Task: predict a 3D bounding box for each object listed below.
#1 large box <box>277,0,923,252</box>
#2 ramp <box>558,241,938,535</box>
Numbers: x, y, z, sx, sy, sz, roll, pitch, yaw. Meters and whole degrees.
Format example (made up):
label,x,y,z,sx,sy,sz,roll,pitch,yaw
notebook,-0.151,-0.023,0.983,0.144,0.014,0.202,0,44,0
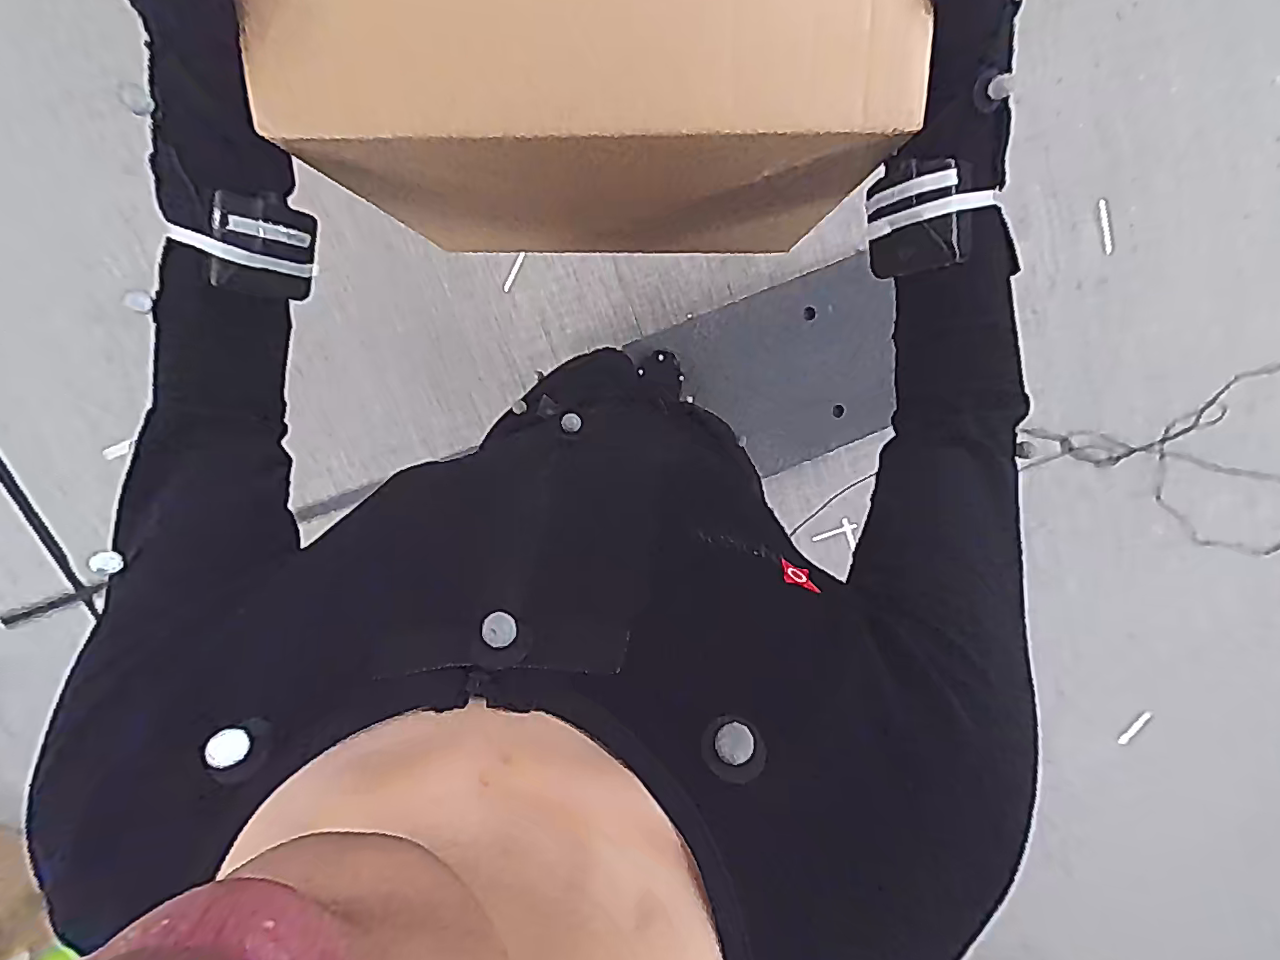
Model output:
label,x,y,z,sx,sy,sz,roll,pitch,yaw
large box,-0.024,-0.396,0.464,0.408,0.320,0.320,1,101,1
ramp,0.323,-0.254,1.504,0.991,0.206,0.509,-22,101,7
